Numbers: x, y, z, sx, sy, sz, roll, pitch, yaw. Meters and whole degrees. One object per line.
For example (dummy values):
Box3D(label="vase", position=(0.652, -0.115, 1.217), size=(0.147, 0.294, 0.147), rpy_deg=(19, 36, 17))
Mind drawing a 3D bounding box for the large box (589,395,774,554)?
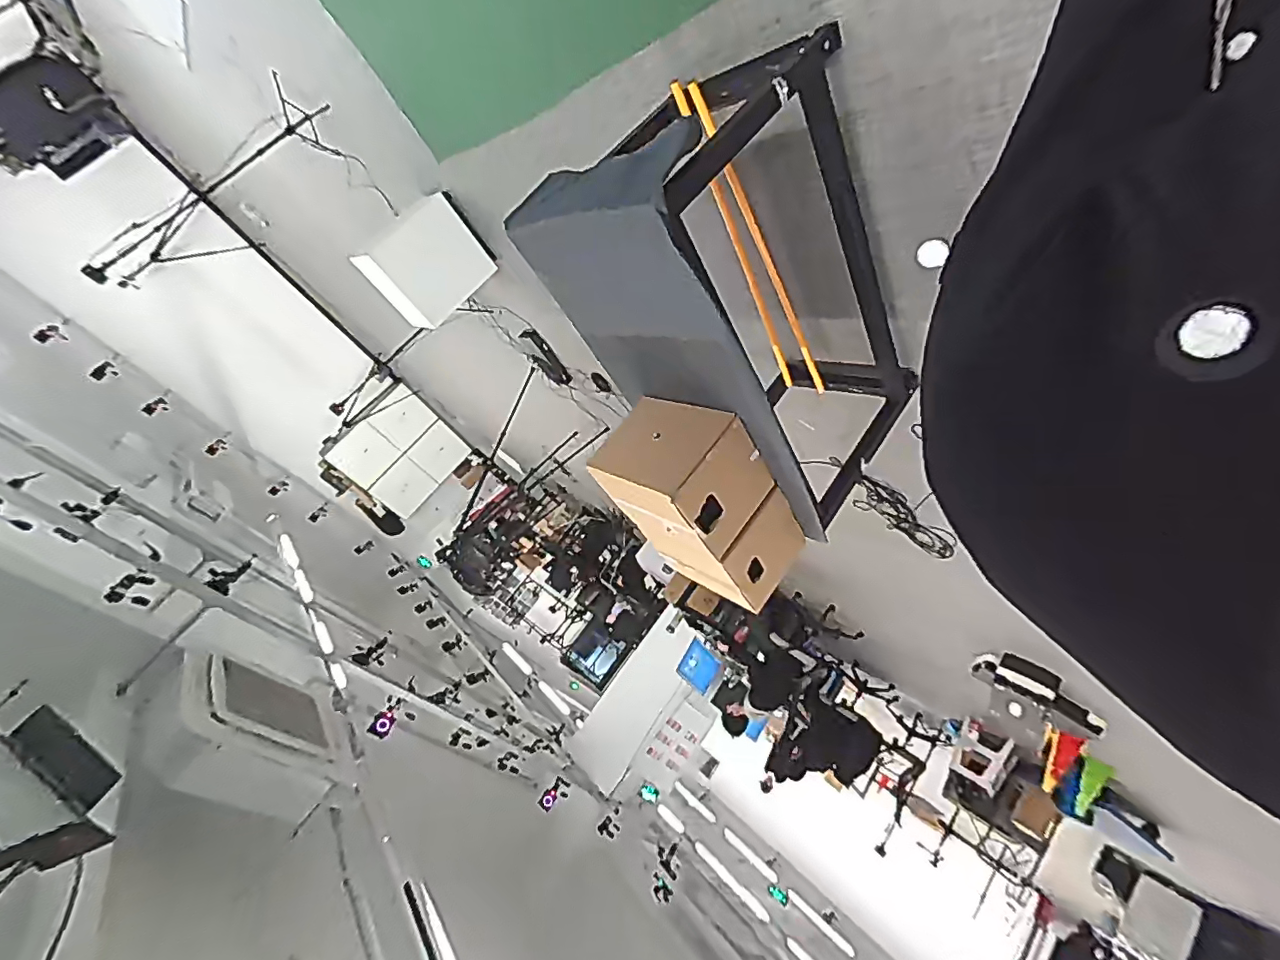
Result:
Box3D(label="large box", position=(0.125, -0.034, 1.648), size=(0.408, 0.320, 0.320), rpy_deg=(19, 155, 48))
